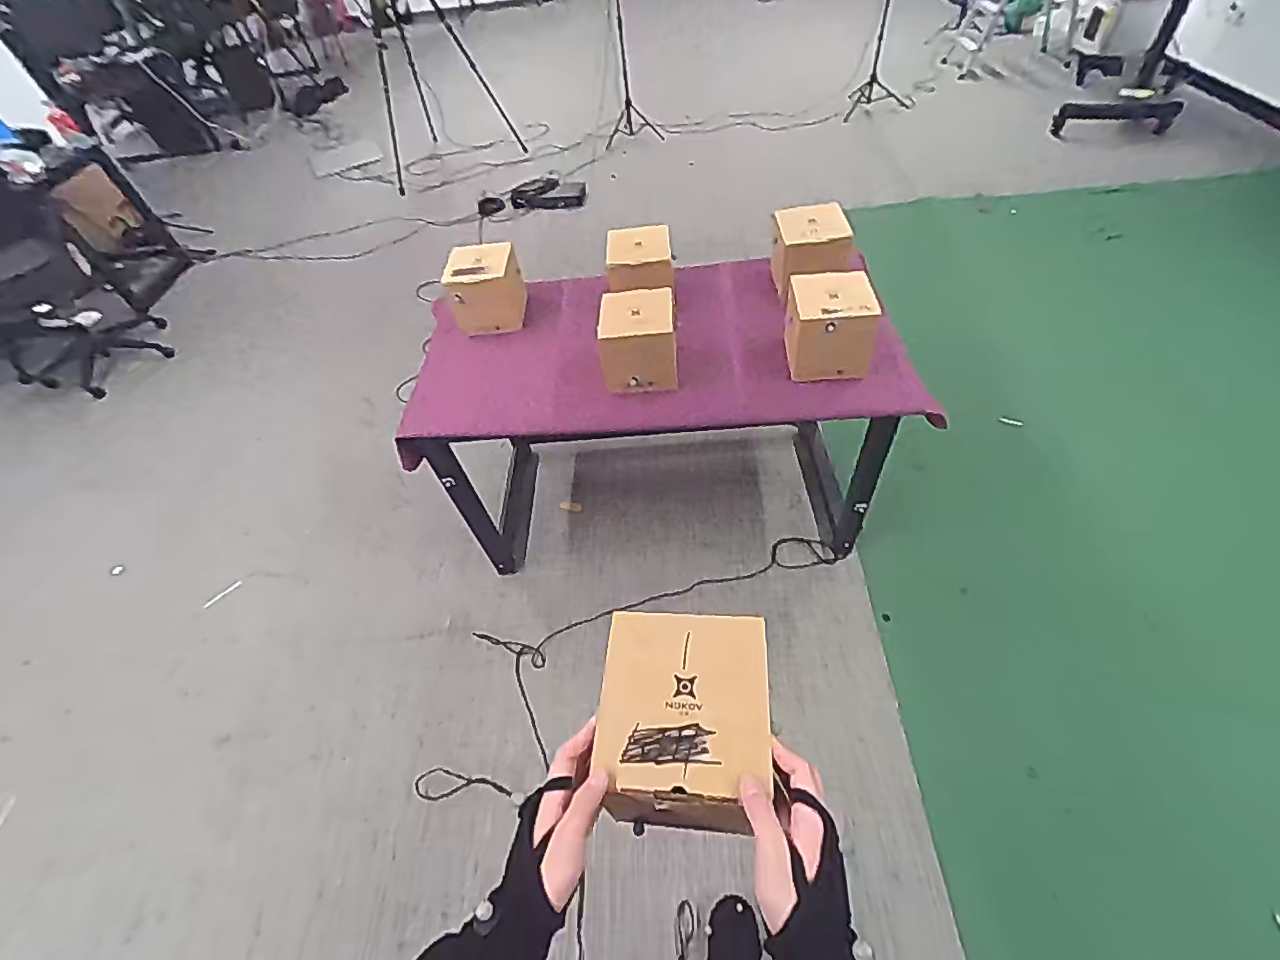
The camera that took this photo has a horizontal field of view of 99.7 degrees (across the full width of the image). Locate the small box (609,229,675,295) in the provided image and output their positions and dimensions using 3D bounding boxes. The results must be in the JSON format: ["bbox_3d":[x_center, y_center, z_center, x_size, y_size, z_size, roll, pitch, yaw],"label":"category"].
[{"bbox_3d":[0.009,-0.547,1.453,0.168,0.176,0.179,-4,52,4],"label":"small box"}]

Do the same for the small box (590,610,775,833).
[{"bbox_3d":[0.053,0.260,0.579,0.168,0.176,0.179,0,48,8],"label":"small box"}]

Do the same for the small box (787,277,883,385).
[{"bbox_3d":[0.430,-0.336,1.223,0.168,0.176,0.179,-2,49,8],"label":"small box"}]

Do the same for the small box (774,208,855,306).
[{"bbox_3d":[0.448,-0.584,1.420,0.168,0.176,0.179,-5,52,7],"label":"small box"}]

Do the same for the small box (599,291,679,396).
[{"bbox_3d":[0.003,-0.317,1.265,0.168,0.176,0.179,-3,50,6],"label":"small box"}]
